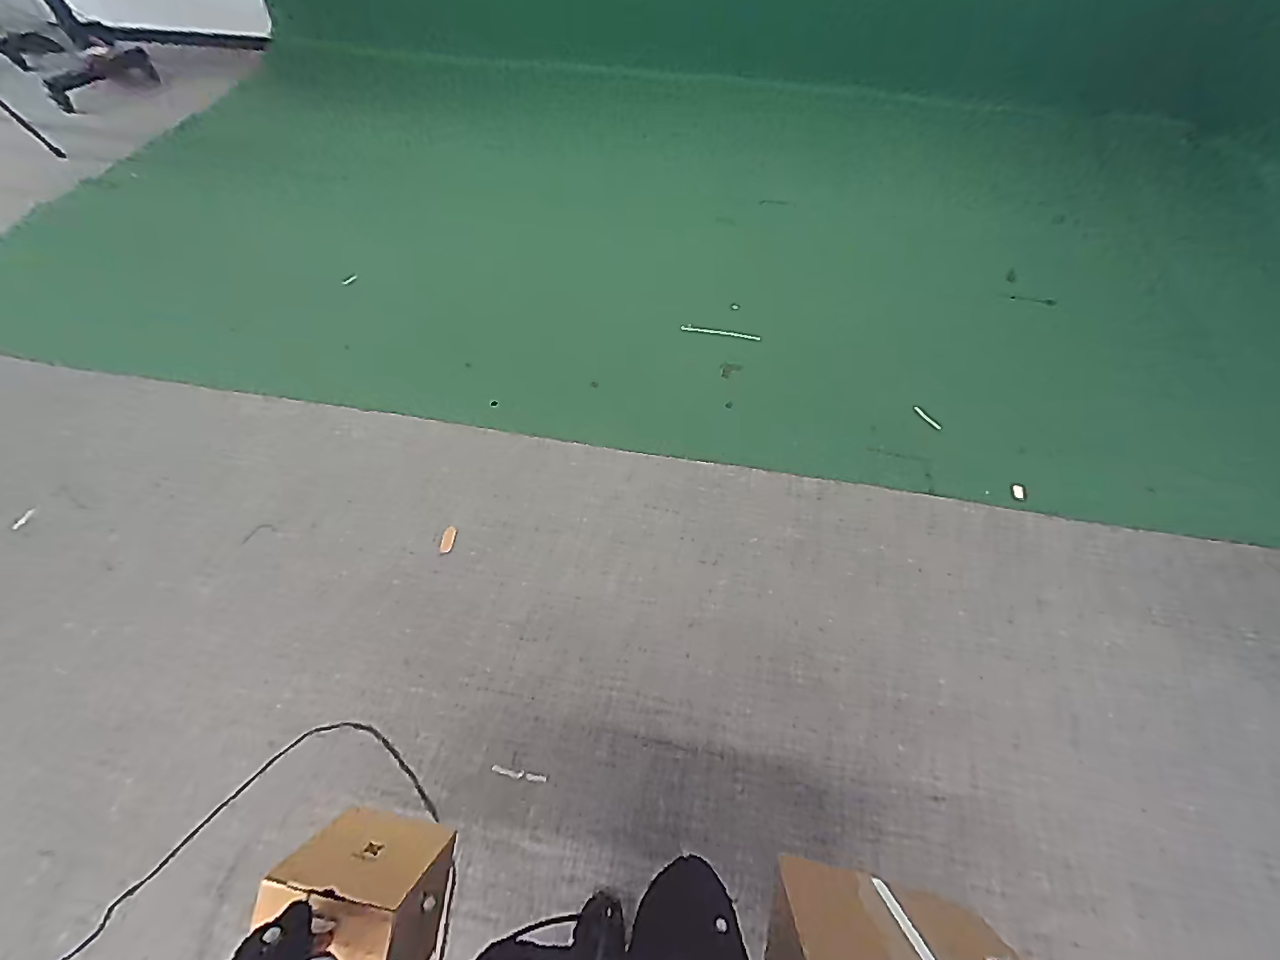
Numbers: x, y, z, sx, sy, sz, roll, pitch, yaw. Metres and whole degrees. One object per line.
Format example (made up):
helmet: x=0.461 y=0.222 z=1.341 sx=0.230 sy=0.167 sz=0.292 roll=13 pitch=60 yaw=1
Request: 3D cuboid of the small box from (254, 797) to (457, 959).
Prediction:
small box: x=-0.363 y=0.555 z=0.698 sx=0.168 sy=0.179 sz=0.176 roll=9 pitch=88 yaw=5
